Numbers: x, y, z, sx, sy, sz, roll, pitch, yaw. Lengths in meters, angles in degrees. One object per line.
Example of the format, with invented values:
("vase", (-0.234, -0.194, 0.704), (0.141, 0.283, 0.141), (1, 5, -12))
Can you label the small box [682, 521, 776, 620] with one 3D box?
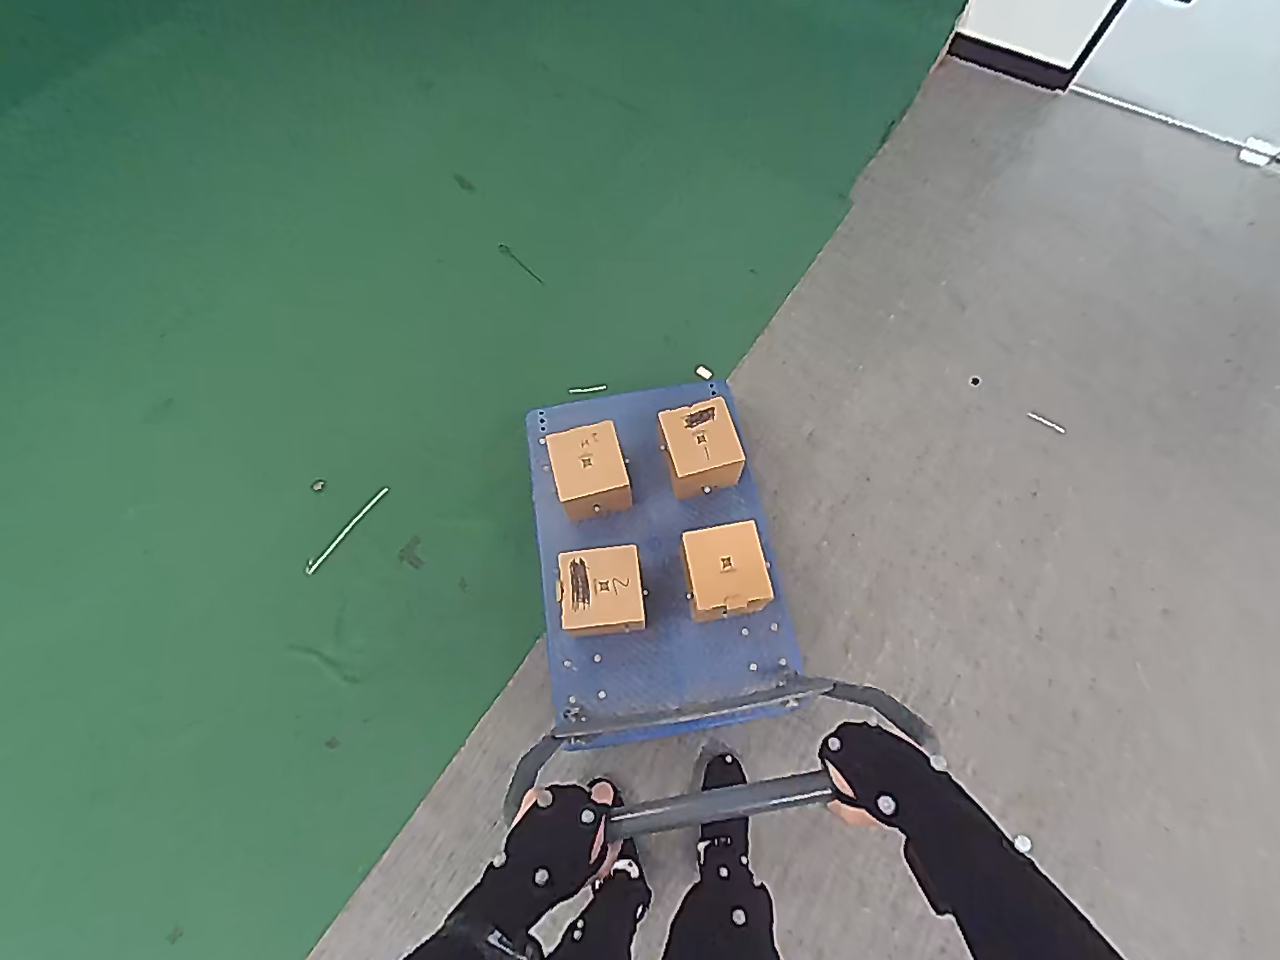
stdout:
("small box", (0.193, 0.211, 1.233), (0.168, 0.176, 0.179), (-10, 70, -2))

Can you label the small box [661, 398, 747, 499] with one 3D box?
("small box", (0.149, -0.074, 1.340), (0.168, 0.176, 0.179), (-15, 71, -4))

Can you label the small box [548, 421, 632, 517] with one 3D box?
("small box", (-0.118, -0.018, 1.325), (0.168, 0.176, 0.179), (-14, 70, -5))
